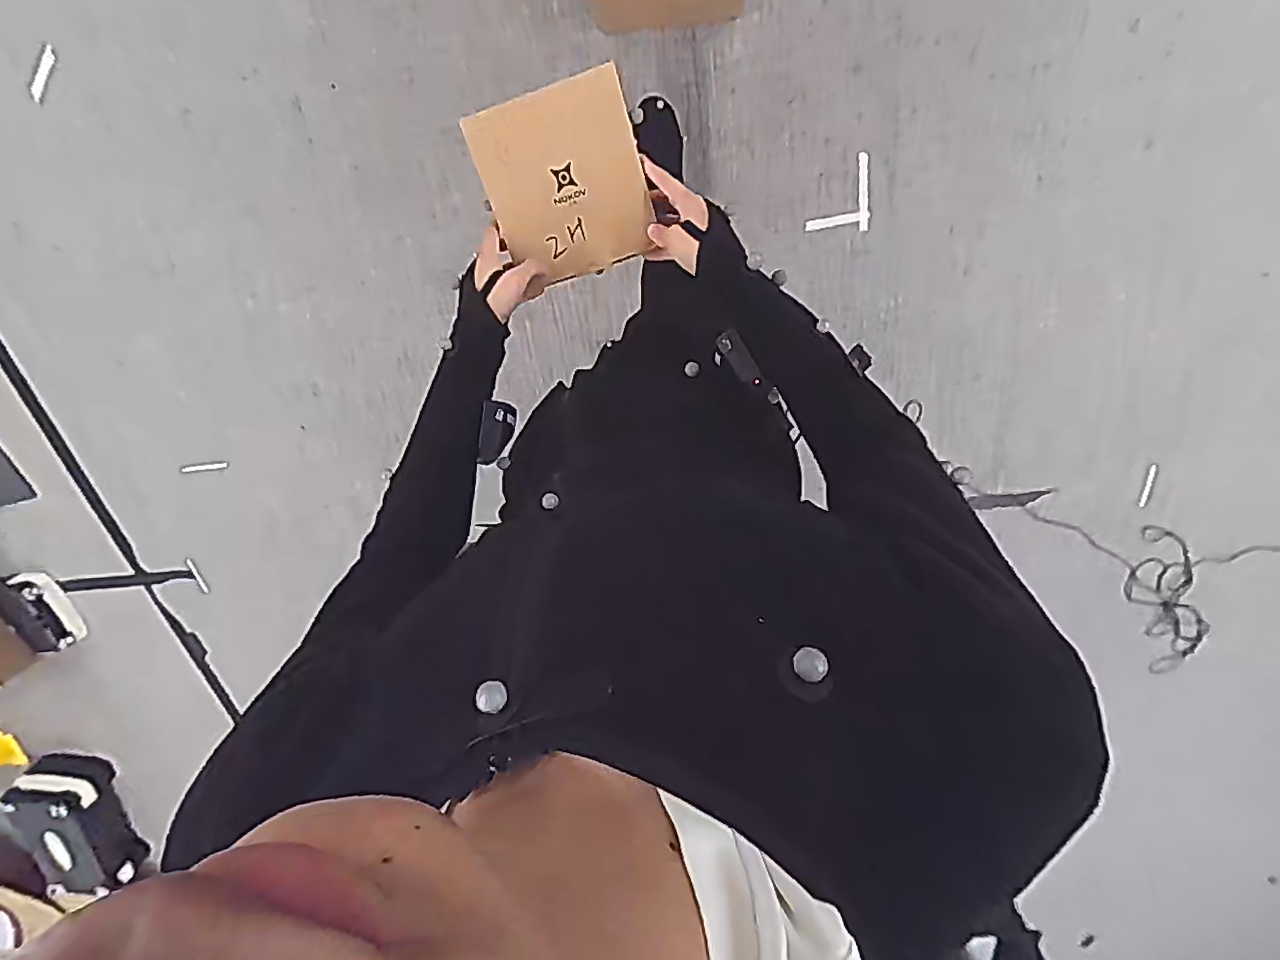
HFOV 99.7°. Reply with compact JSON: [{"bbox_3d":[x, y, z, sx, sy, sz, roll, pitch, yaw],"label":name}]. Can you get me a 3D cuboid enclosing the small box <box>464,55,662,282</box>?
[{"bbox_3d":[-0.082,-0.353,0.640,0.168,0.176,0.179,-17,117,5],"label":"small box"}]
